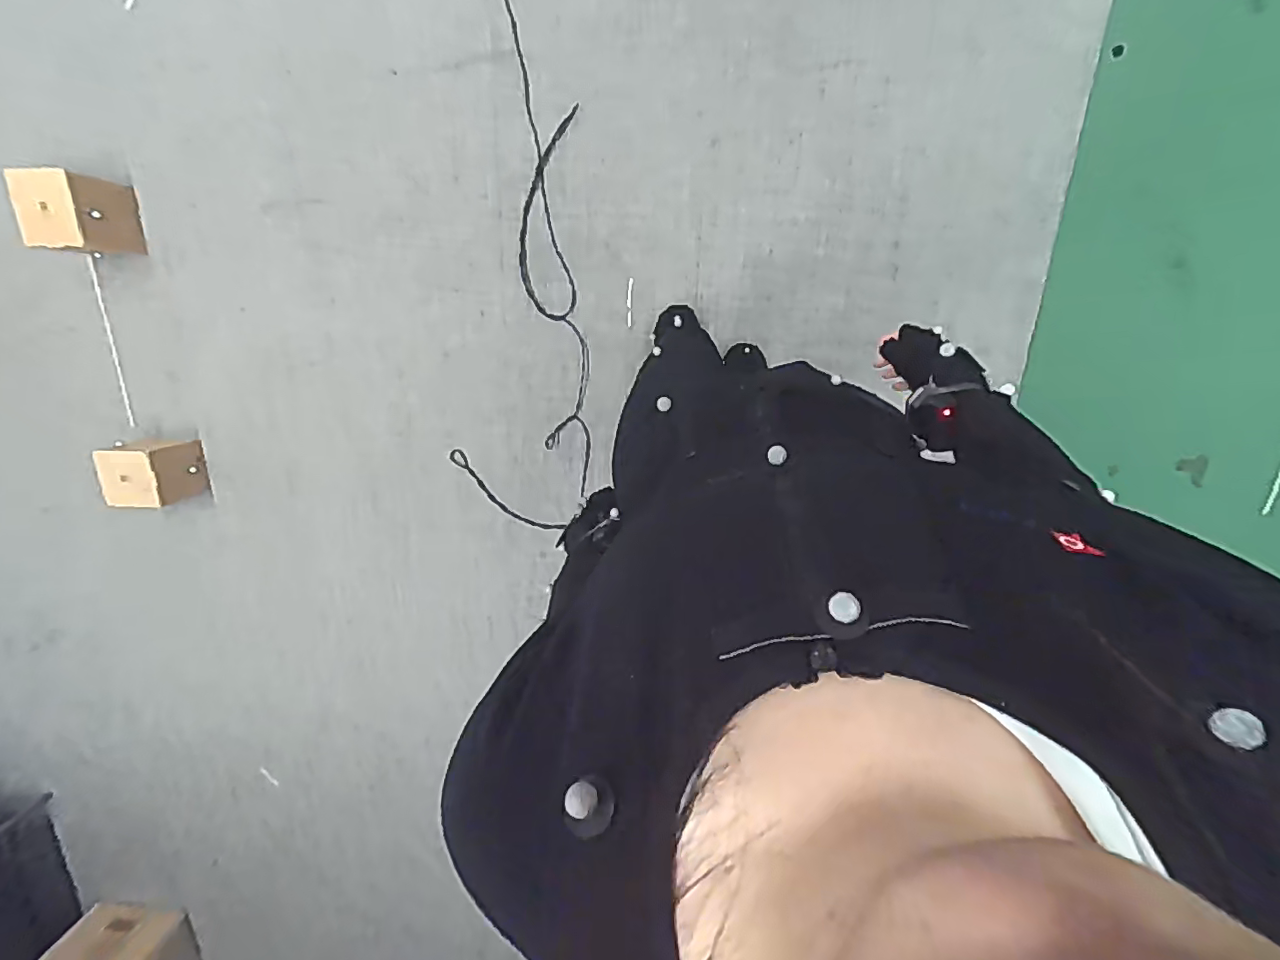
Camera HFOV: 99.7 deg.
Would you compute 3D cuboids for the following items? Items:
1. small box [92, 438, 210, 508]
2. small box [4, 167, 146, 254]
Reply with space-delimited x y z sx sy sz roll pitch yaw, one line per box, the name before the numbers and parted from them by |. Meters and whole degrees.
small box | -1.421 -0.026 1.580 0.179 0.176 0.168 2 107 5
small box | -1.432 -0.682 1.384 0.168 0.176 0.179 2 107 5
